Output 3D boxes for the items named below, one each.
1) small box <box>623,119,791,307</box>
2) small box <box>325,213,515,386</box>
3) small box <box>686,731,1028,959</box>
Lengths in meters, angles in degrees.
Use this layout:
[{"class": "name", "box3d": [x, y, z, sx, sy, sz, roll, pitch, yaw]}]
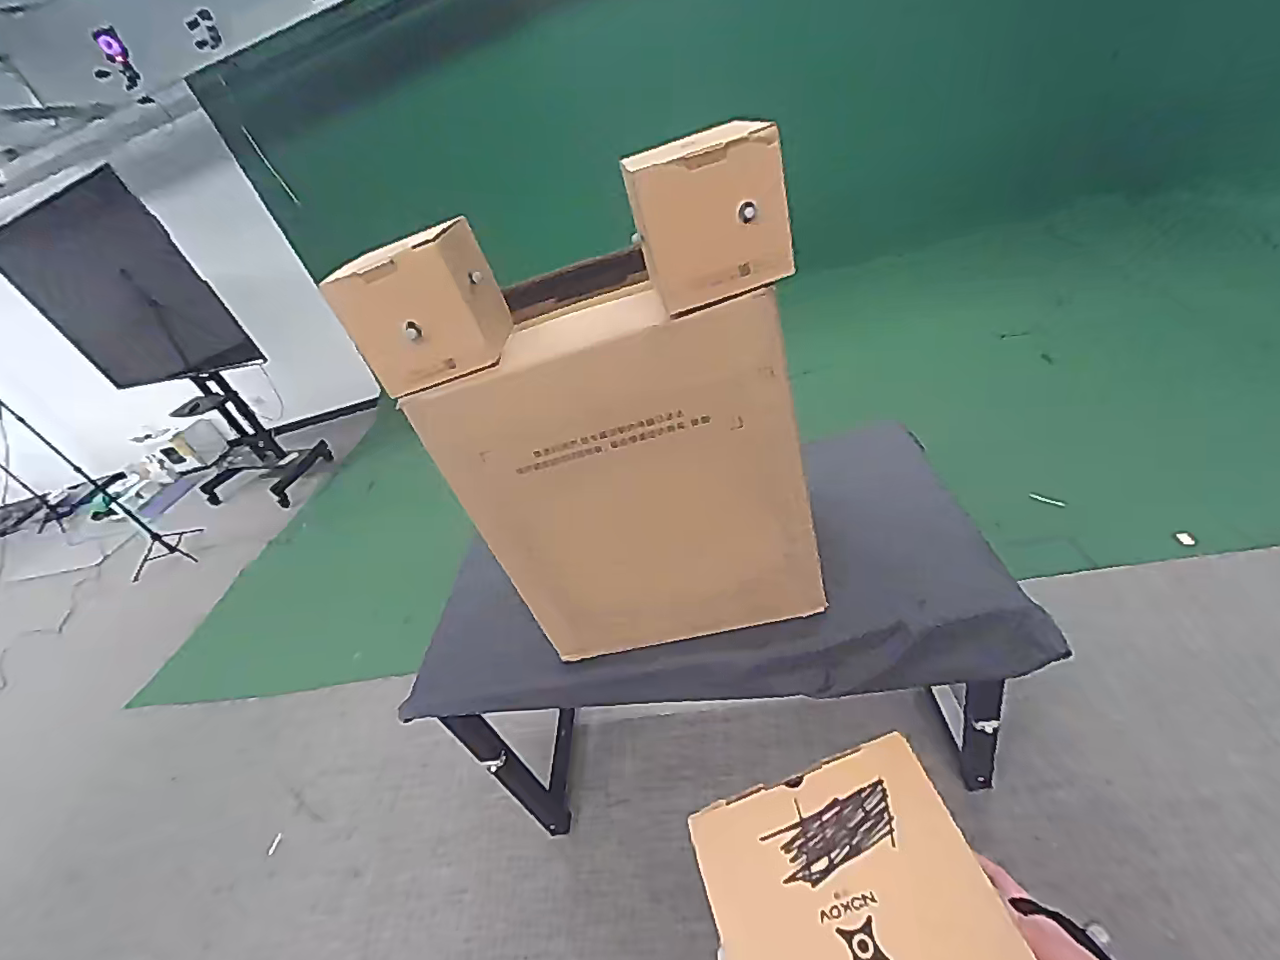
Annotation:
[{"class": "small box", "box3d": [0.084, -0.339, 0.694, 0.168, 0.176, 0.179, -16, 34, 3]}, {"class": "small box", "box3d": [-0.295, -0.252, 0.774, 0.168, 0.176, 0.179, -16, 35, 8]}, {"class": "small box", "box3d": [0.151, 0.314, 0.381, 0.168, 0.176, 0.179, -24, 45, 4]}]
